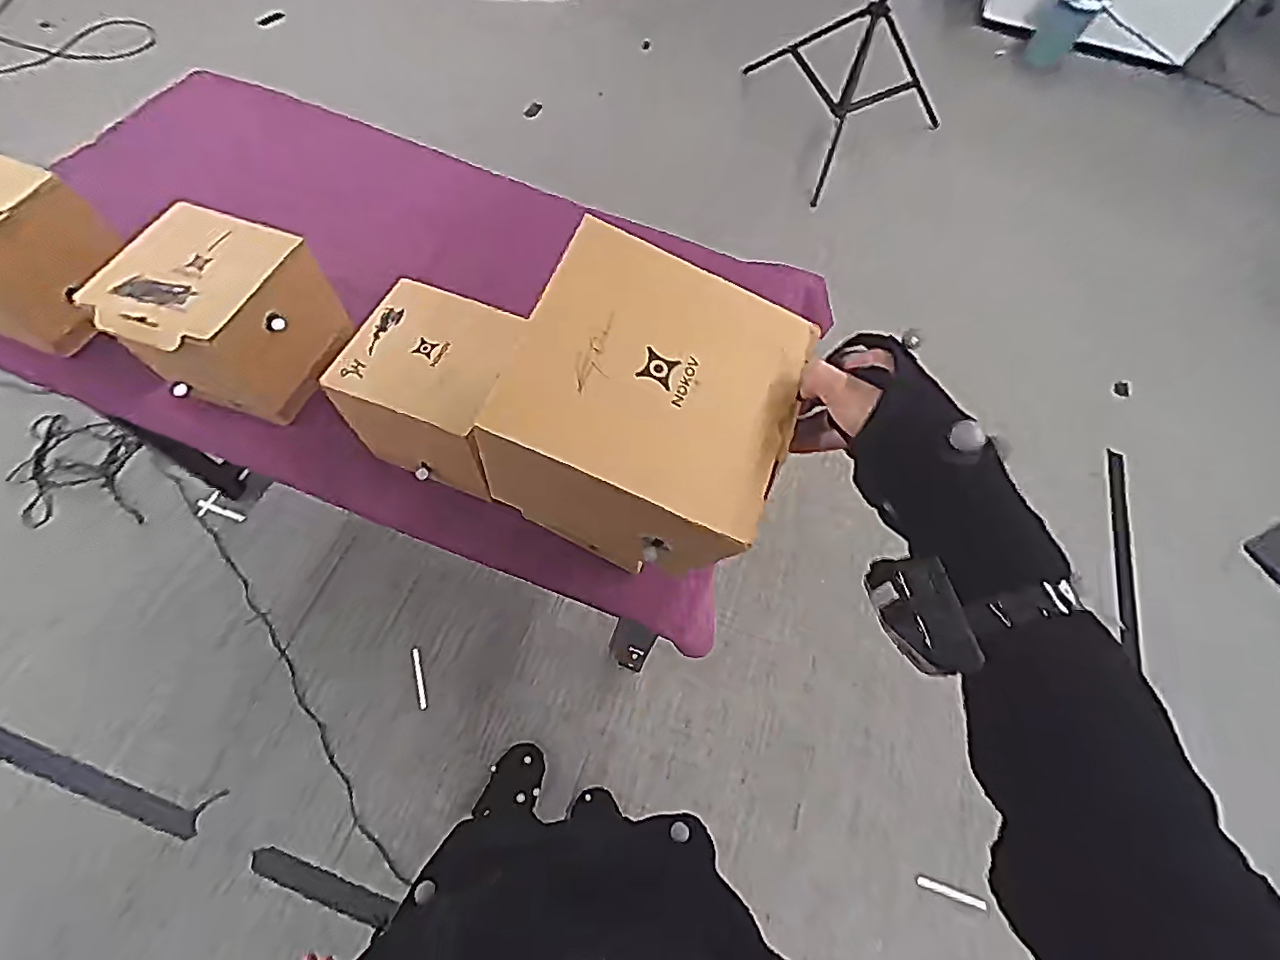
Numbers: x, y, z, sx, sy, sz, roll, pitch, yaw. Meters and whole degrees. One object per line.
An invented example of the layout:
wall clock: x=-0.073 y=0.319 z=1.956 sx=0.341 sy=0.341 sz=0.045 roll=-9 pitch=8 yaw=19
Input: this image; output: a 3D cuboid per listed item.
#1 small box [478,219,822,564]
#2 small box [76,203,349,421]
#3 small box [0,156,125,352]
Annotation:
small box: x=0.001 y=-0.045 z=0.407 sx=0.179 sy=0.176 sz=0.168 roll=23 pitch=70 yaw=-4
small box: x=-0.506 y=-0.201 z=0.678 sx=0.168 sy=0.176 sz=0.179 roll=18 pitch=64 yaw=3
small box: x=-0.818 y=-0.292 z=0.695 sx=0.179 sy=0.176 sz=0.168 roll=18 pitch=64 yaw=3
